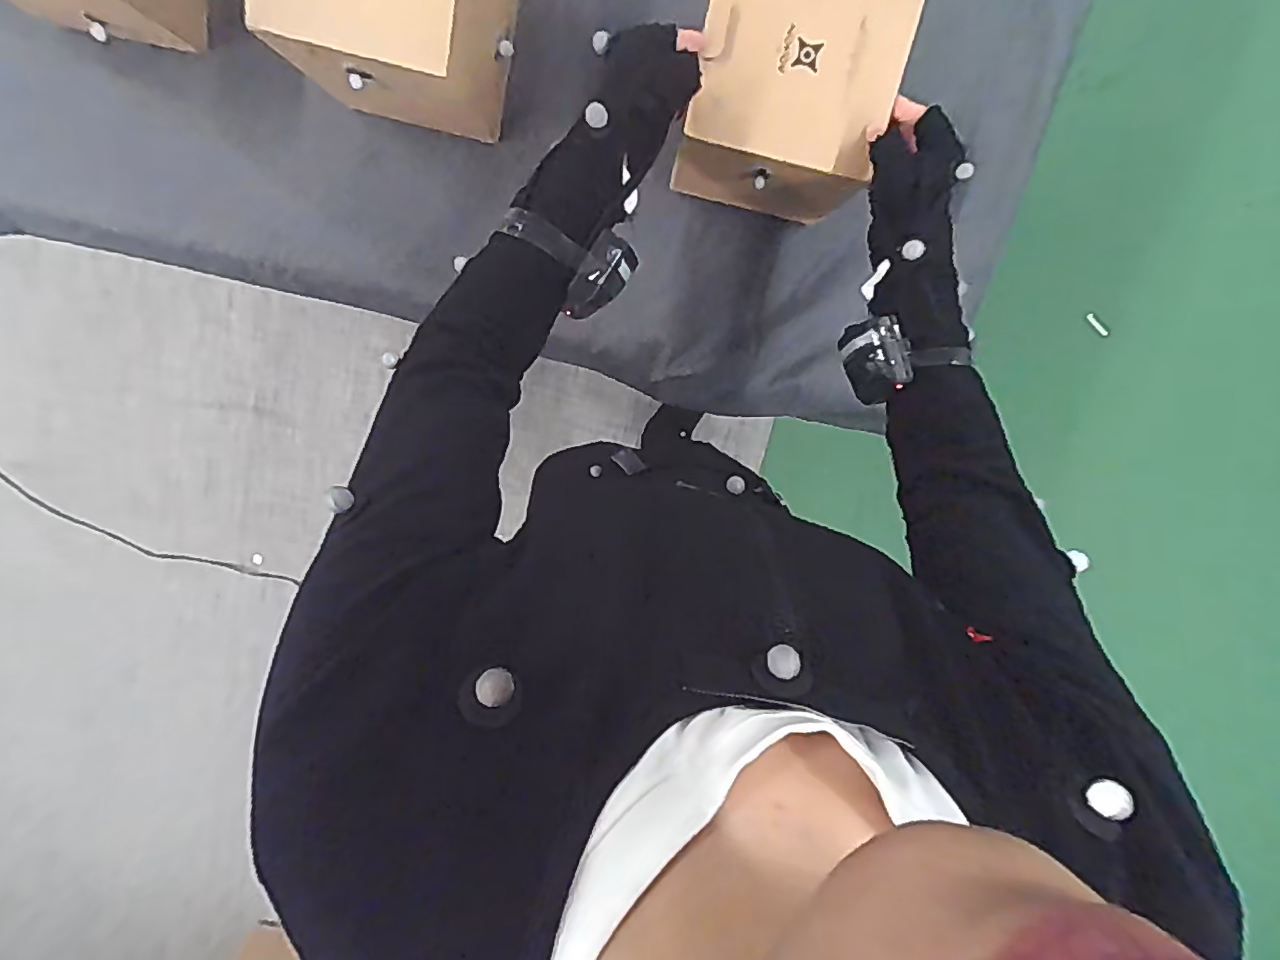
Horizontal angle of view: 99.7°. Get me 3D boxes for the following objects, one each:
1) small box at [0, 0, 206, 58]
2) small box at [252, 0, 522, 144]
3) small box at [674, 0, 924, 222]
[{"bbox_3d":[-0.553,-0.542,0.513,0.179,0.176,0.168,10,104,-2],"label":"small box"},{"bbox_3d":[-0.230,-0.458,0.527,0.179,0.176,0.168,12,104,-2],"label":"small box"},{"bbox_3d":[0.137,-0.376,0.538,0.179,0.176,0.168,12,104,-4],"label":"small box"}]
